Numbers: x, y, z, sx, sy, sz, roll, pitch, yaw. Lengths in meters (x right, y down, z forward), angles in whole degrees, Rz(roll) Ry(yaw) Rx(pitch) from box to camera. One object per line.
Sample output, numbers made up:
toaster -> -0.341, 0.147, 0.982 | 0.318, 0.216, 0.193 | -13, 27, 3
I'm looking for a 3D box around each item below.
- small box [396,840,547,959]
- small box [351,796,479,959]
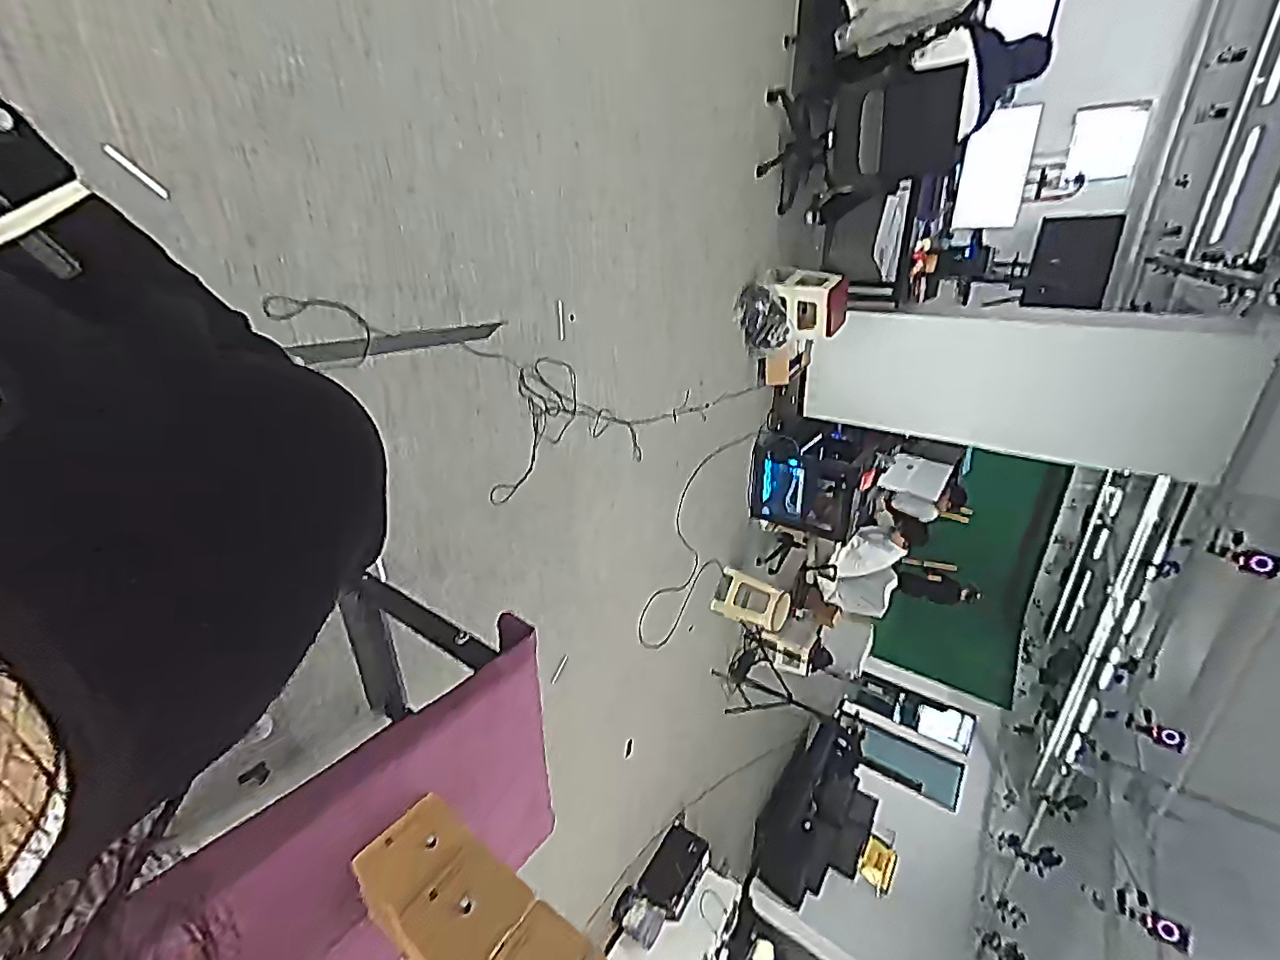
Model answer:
small box -> -0.285, 0.762, 0.921 | 0.168, 0.176, 0.179 | -35, 131, -44
small box -> -0.415, 0.741, 1.021 | 0.168, 0.176, 0.179 | -30, 128, -47
